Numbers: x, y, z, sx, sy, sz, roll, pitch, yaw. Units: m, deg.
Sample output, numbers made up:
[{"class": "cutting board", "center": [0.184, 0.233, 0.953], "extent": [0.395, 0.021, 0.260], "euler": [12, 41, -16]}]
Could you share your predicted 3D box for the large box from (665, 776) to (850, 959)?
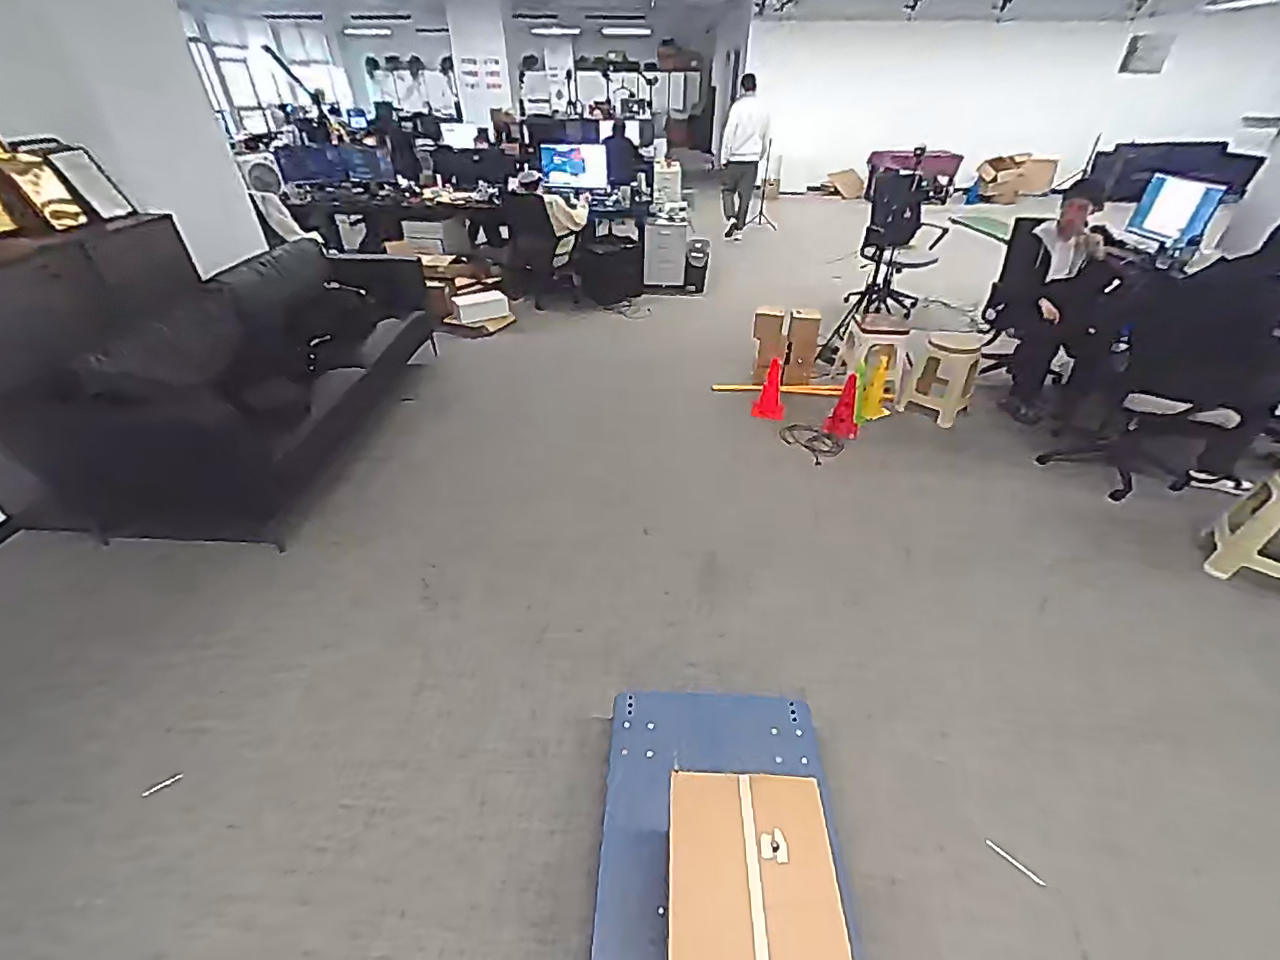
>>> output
[{"class": "large box", "center": [0.206, 0.877, 1.082], "extent": [0.320, 0.320, 0.408], "euler": [2, 35, 2]}]
